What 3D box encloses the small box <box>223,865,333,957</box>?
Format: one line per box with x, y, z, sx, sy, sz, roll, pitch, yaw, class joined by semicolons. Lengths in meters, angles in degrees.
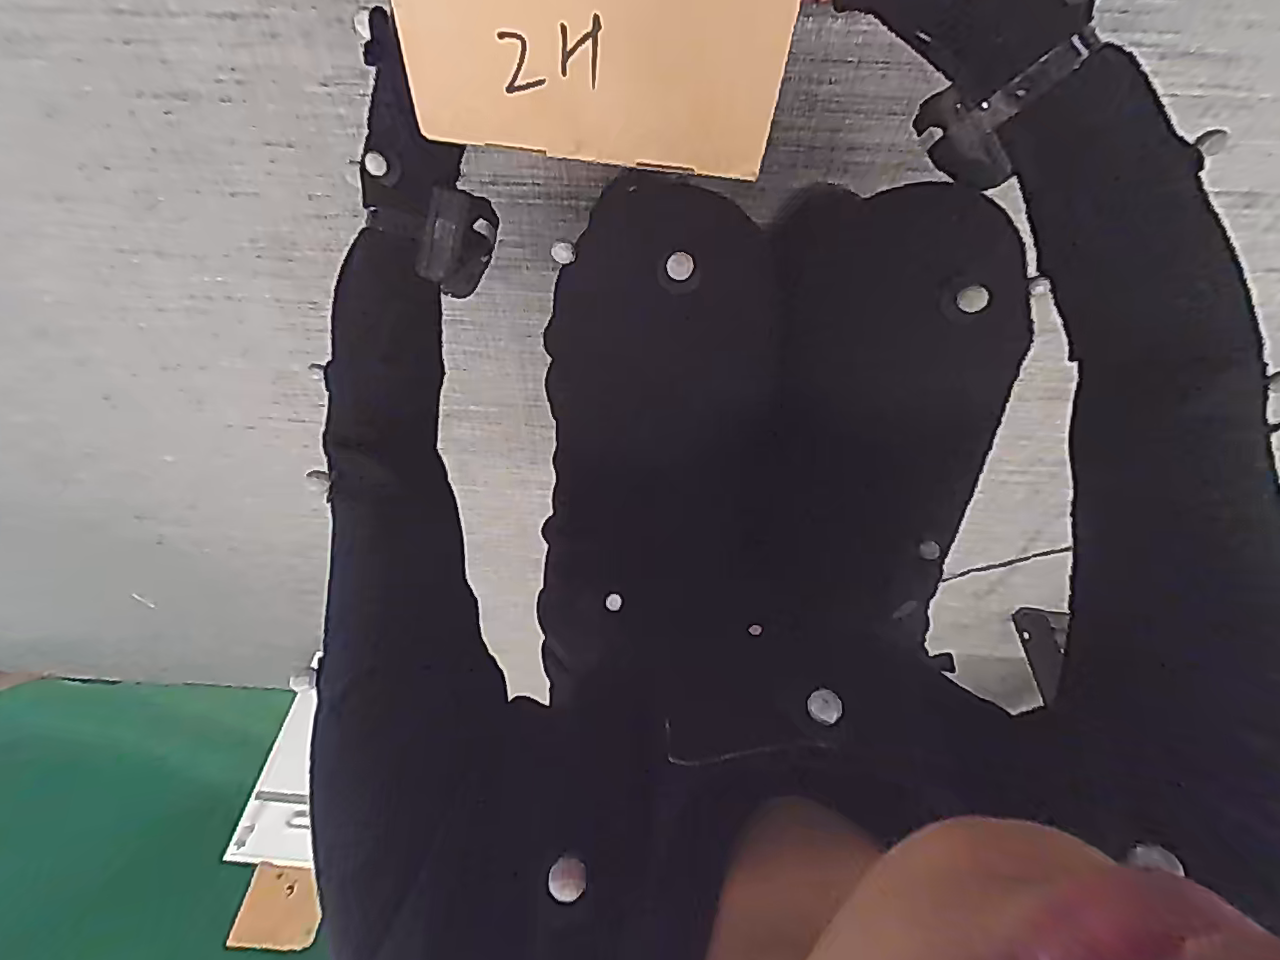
-0.927;1.117;1.408;0.168;0.176;0.179;13;141;-10;small box

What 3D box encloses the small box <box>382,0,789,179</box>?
-0.014;-0.272;0.246;0.168;0.176;0.179;7;141;-1;small box
